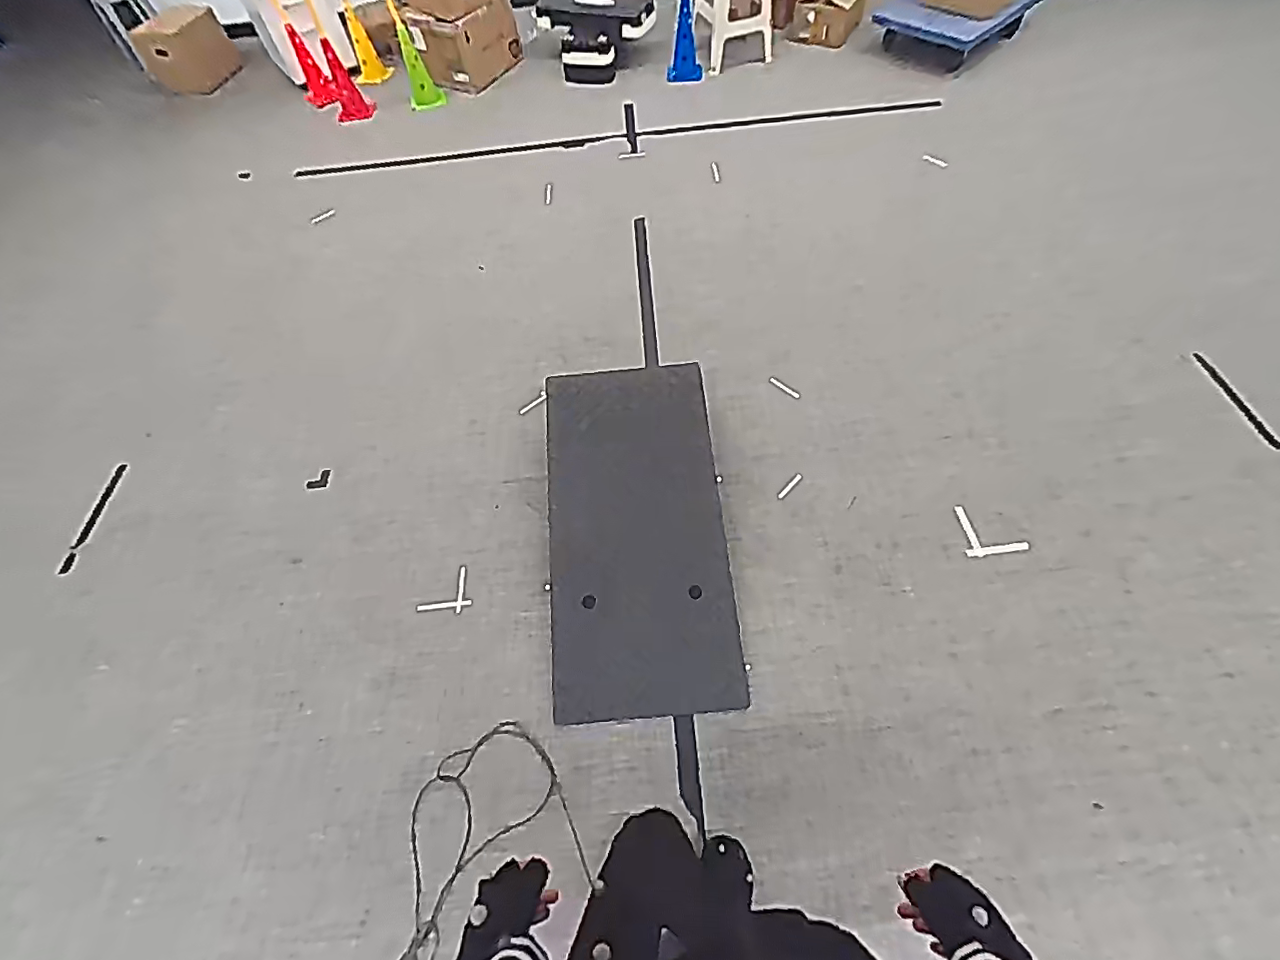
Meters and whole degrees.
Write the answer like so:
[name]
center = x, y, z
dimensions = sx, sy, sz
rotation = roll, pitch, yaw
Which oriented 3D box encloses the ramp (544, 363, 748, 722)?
[ramp]
center = -0.013, 0.118, 1.526
dimensions = 0.509, 0.206, 0.991
rotation = -7, 58, -1
